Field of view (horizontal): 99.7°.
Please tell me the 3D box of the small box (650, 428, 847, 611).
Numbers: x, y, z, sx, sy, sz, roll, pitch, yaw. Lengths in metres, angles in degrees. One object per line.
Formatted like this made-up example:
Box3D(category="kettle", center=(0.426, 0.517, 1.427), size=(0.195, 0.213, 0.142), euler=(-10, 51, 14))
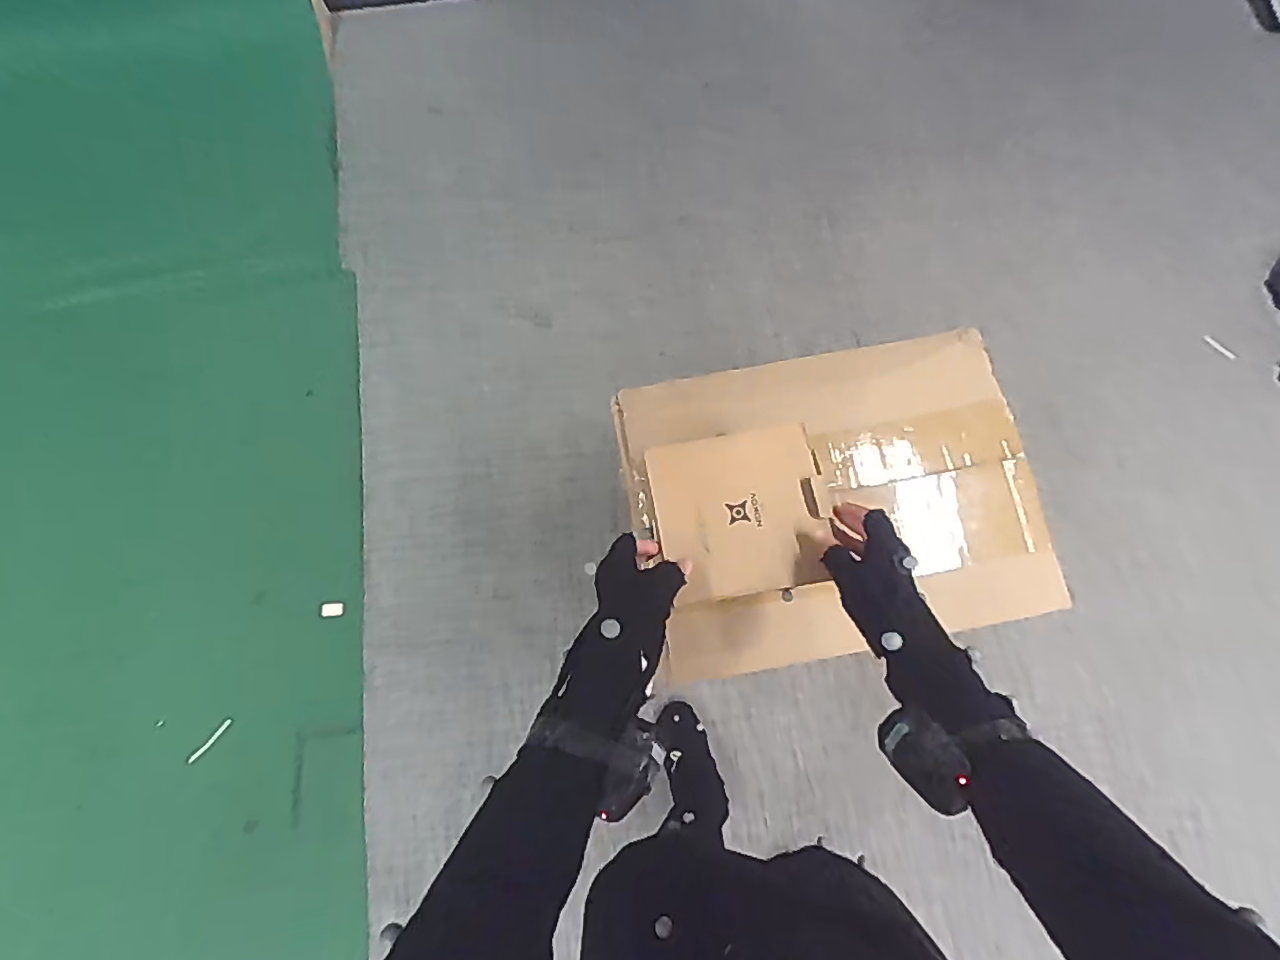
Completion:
Box3D(category="small box", center=(0.109, 0.054, 0.630), size=(0.179, 0.176, 0.168), euler=(-11, 76, -1))
